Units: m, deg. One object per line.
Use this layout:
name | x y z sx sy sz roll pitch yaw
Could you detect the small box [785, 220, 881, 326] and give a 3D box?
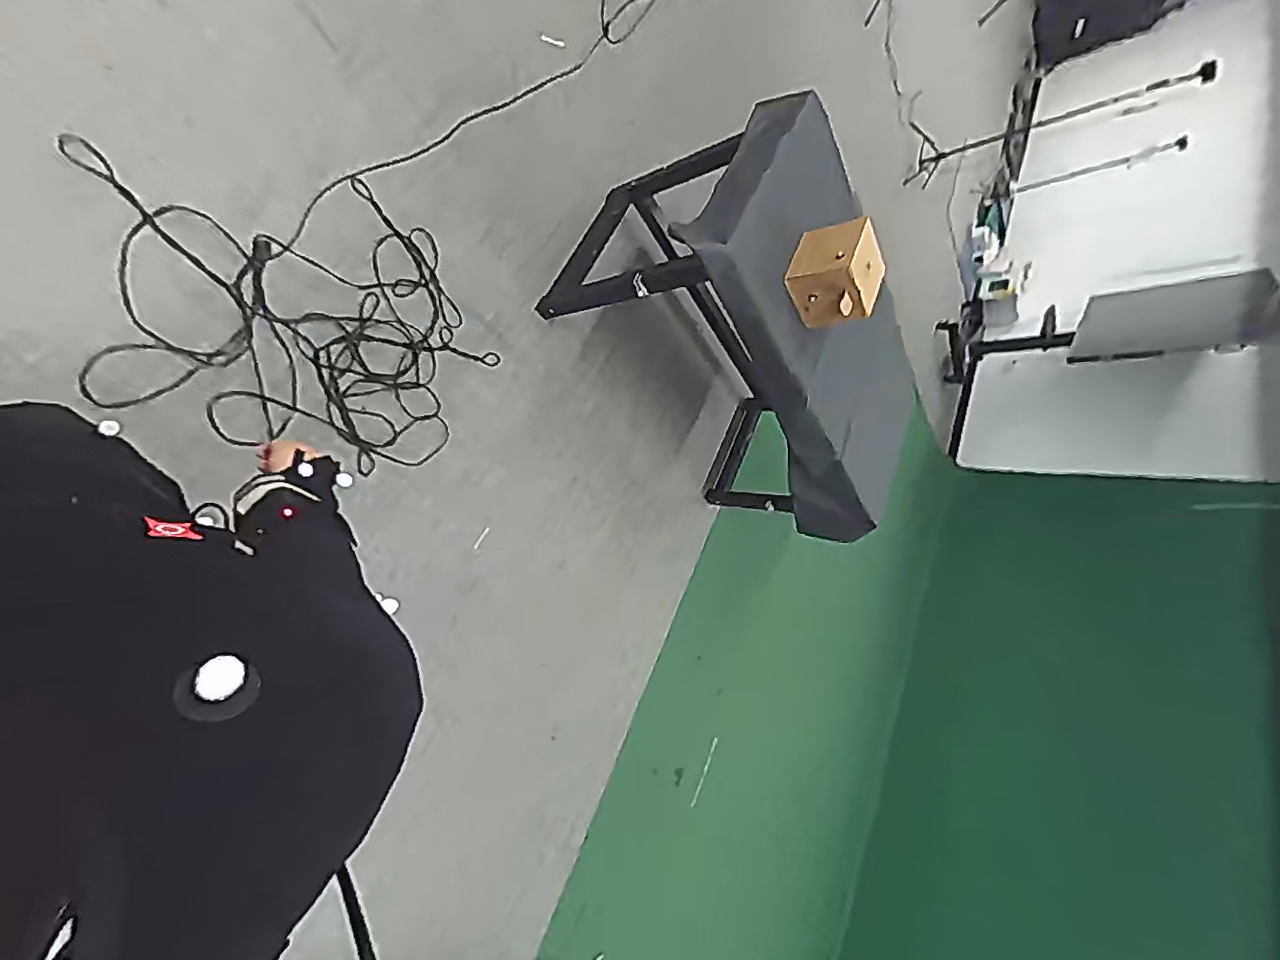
small box | 0.486 -0.516 1.365 0.168 0.176 0.179 44 62 -41
